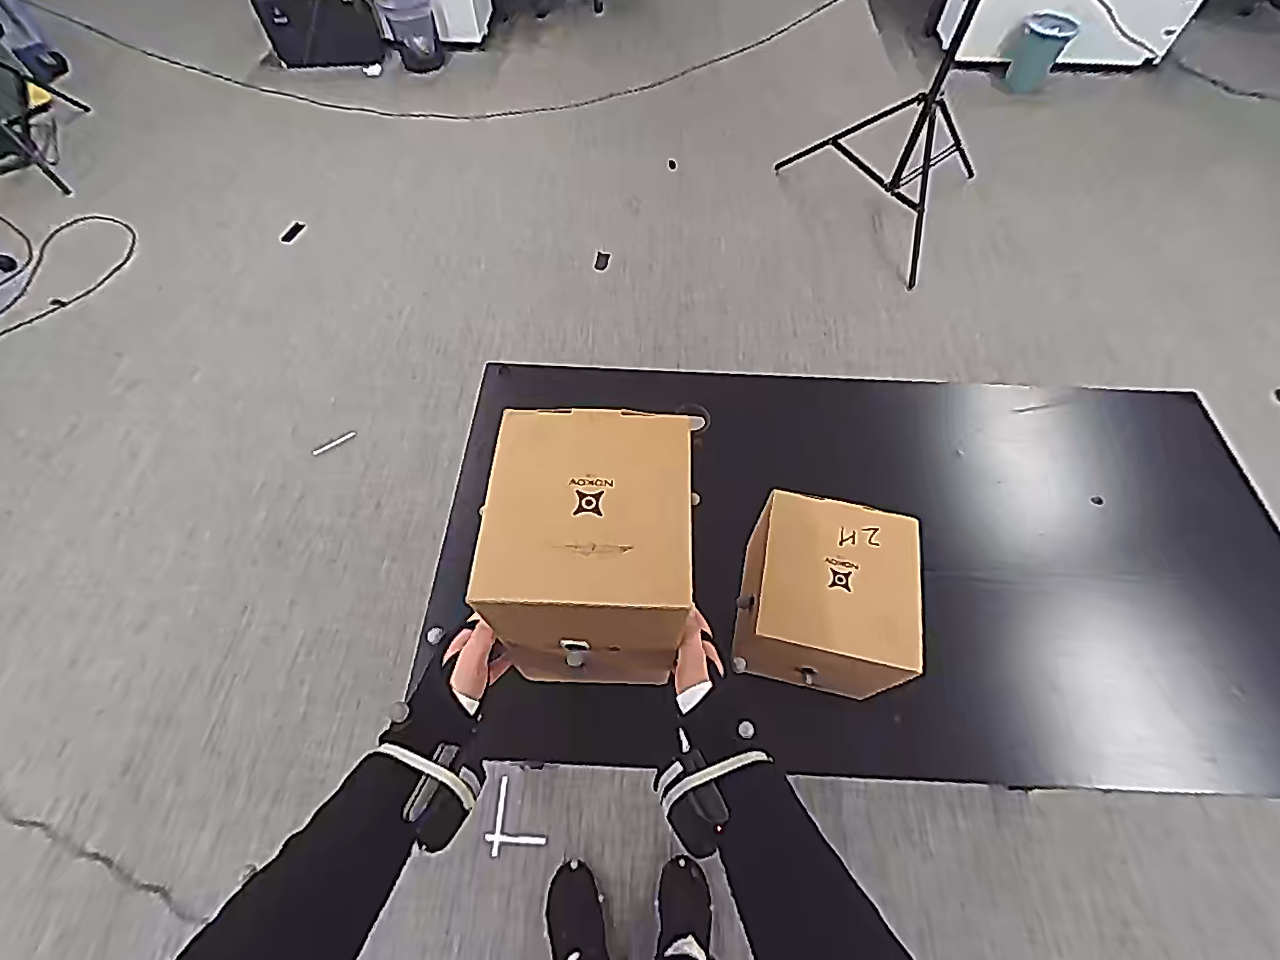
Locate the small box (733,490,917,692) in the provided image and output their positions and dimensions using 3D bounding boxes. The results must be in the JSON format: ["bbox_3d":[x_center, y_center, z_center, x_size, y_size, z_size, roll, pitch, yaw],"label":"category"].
[{"bbox_3d":[0.212,0.140,0.650,0.168,0.176,0.179,12,59,6],"label":"small box"}]

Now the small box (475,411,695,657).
[{"bbox_3d":[-0.040,0.056,0.507,0.168,0.176,0.179,1,61,0],"label":"small box"}]

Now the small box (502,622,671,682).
[{"bbox_3d":[-0.049,0.140,0.647,0.179,0.176,0.168,1,59,0],"label":"small box"}]
